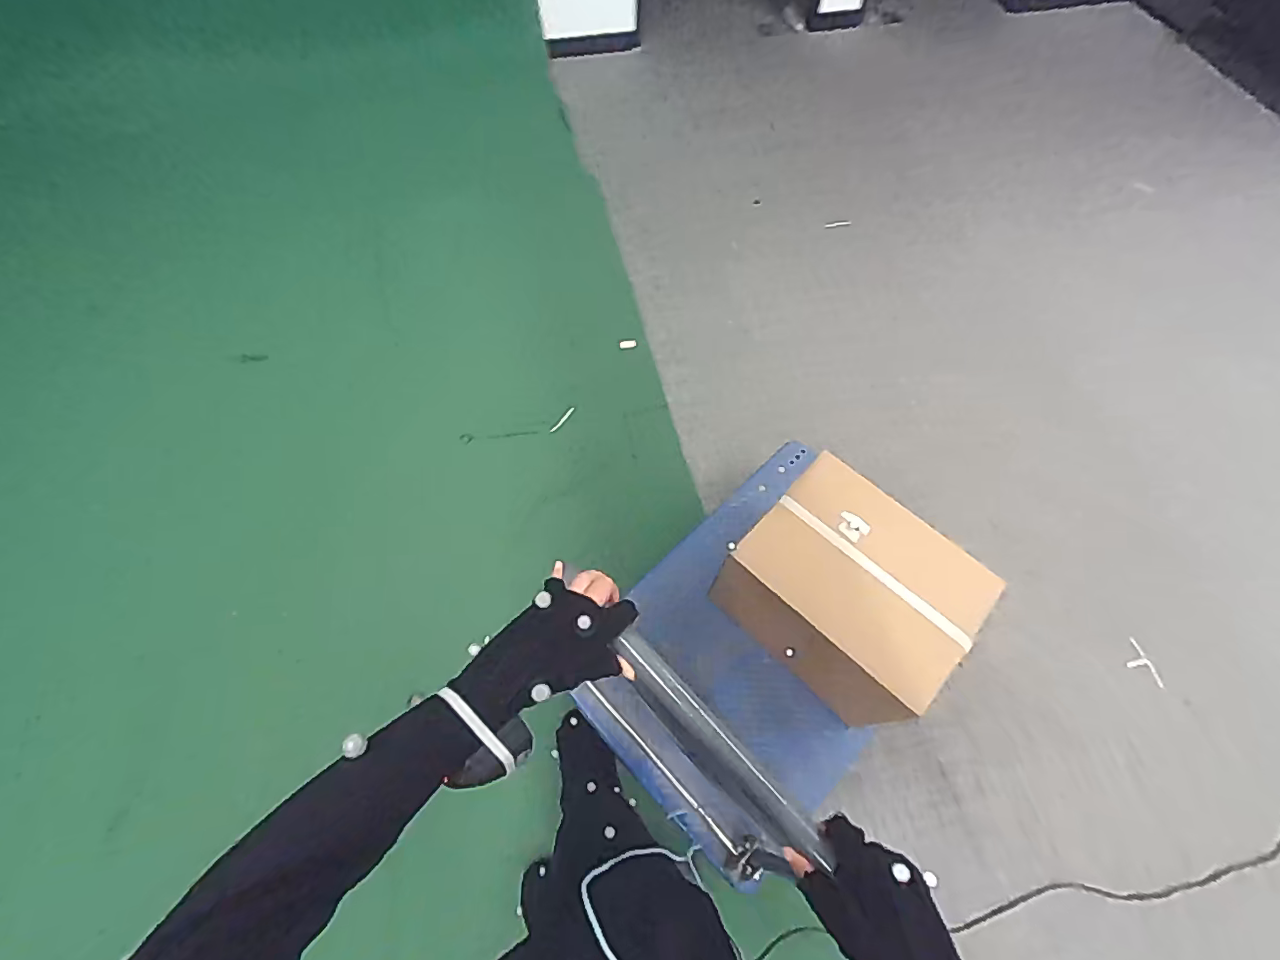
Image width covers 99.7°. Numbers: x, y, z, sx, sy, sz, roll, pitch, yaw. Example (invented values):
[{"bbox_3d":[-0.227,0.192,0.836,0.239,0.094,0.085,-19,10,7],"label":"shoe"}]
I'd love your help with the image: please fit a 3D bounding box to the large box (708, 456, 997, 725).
[{"bbox_3d":[0.402,0.235,1.118,0.408,0.320,0.320,41,68,19],"label":"large box"}]
